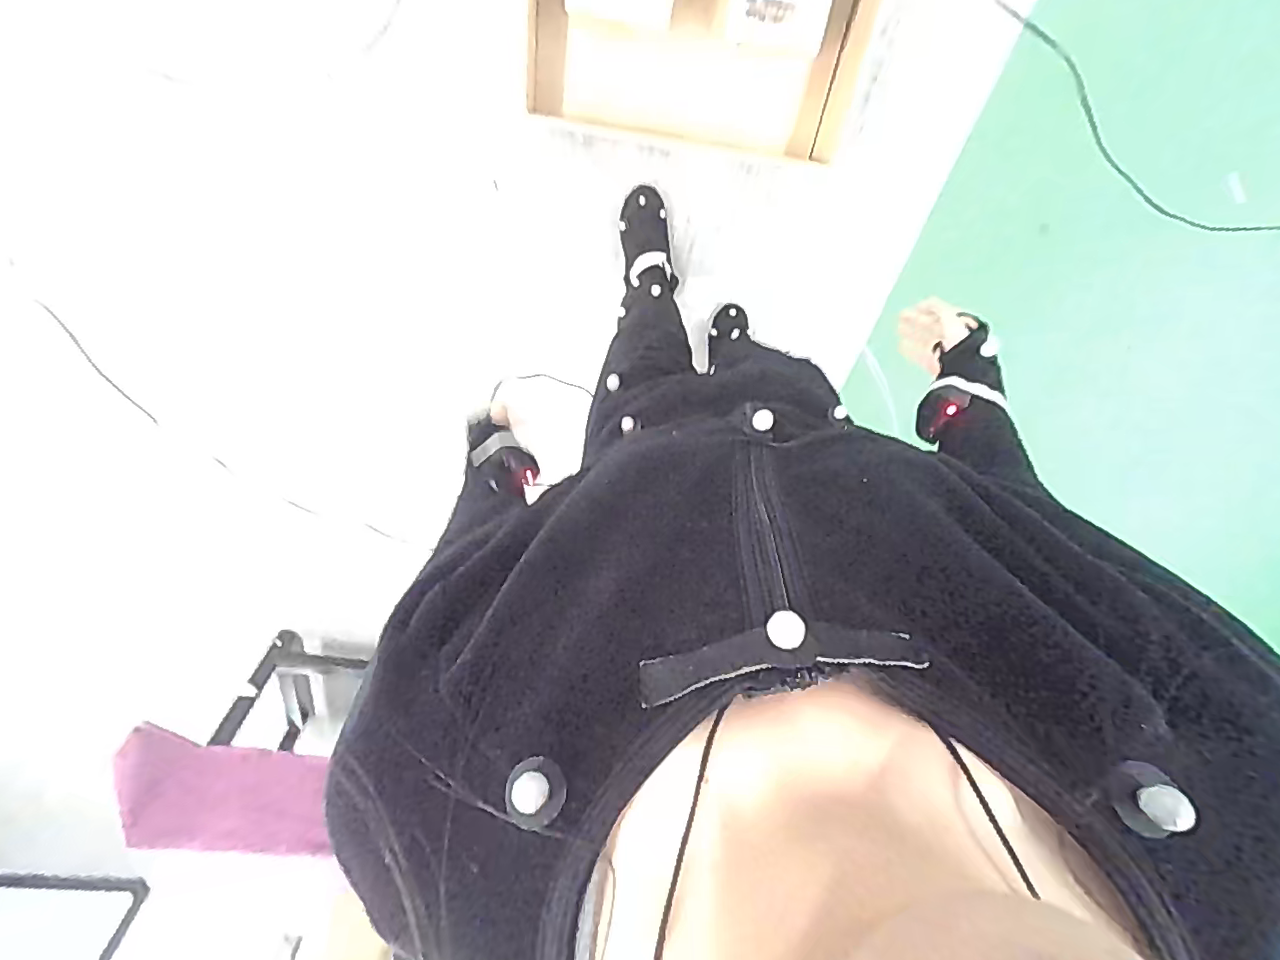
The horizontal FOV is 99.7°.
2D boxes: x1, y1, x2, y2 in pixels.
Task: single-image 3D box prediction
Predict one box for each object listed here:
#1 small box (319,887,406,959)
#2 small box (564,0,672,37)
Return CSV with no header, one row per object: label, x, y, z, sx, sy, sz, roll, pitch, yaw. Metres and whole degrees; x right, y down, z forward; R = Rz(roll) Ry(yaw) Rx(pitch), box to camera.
small box,-0.796,1.319,1.573,0.168,0.176,0.179,4,123,-6
small box,-0.030,-0.876,0.918,0.179,0.176,0.168,5,126,-8
